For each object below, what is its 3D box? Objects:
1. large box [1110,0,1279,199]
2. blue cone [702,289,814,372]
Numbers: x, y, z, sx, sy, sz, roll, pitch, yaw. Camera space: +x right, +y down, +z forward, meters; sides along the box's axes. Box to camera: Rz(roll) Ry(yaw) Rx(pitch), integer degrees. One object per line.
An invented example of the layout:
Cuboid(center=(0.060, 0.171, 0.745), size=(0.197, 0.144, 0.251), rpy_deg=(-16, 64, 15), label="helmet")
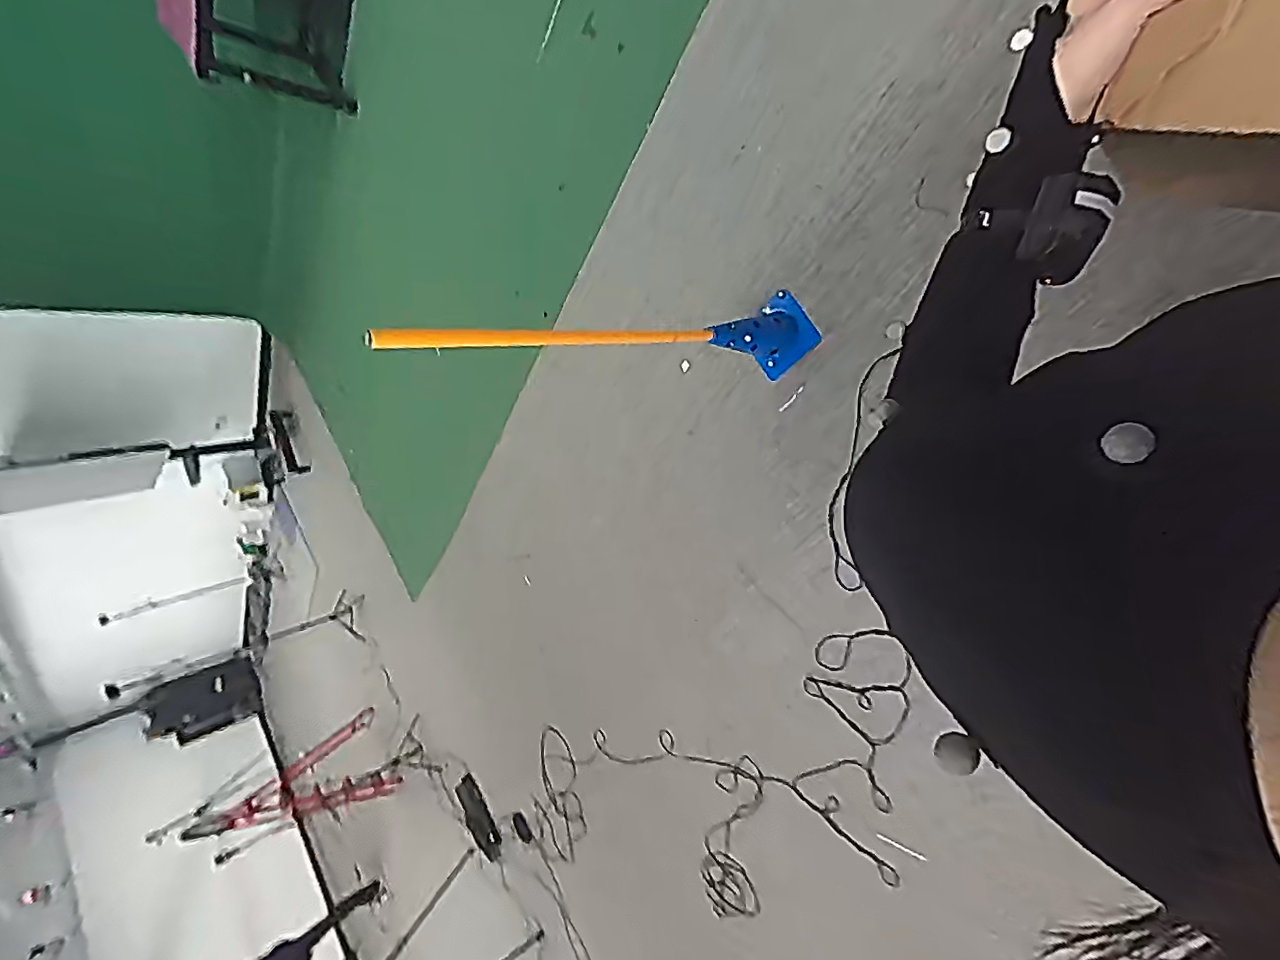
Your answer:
Cuboid(center=(0.585, -0.348, 0.307), size=(0.408, 0.320, 0.320), rpy_deg=(28, 121, 35), label="large box")
Cuboid(center=(0.299, -0.412, 1.491), size=(0.193, 0.380, 0.192), rpy_deg=(-41, 71, 41), label="blue cone")
